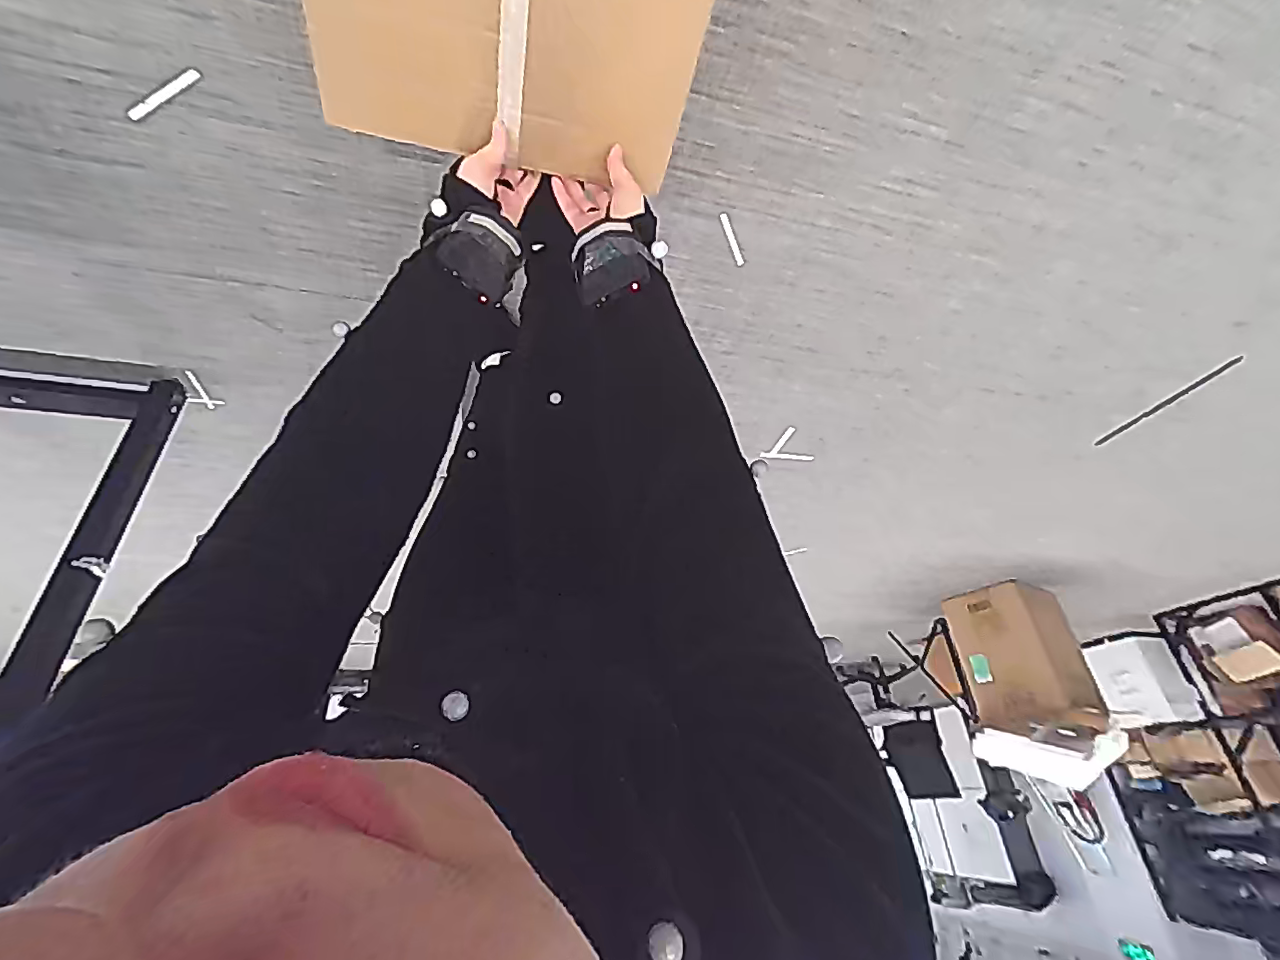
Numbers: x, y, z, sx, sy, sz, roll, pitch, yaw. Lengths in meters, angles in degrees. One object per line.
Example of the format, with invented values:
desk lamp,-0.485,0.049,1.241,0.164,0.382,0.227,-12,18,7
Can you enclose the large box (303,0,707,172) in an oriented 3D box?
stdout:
large box,-0.092,-0.551,0.438,0.320,0.320,0.408,4,144,-15
